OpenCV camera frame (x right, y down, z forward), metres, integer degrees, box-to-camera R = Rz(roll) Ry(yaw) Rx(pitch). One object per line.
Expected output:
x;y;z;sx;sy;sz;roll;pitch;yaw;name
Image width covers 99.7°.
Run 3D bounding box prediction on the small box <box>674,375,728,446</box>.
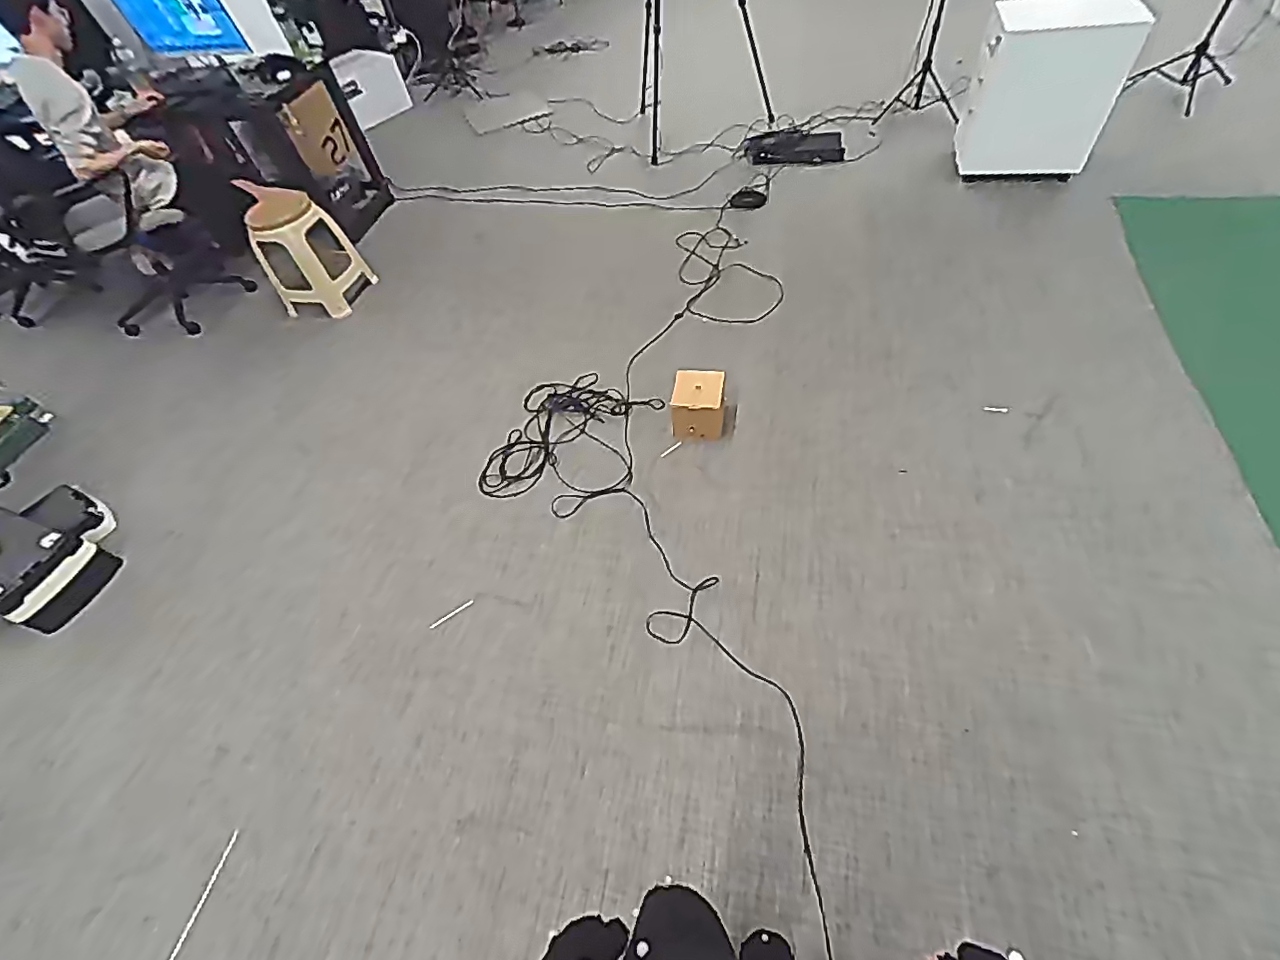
0.217;-0.244;1.893;0.168;0.176;0.179;4;55;13;small box
